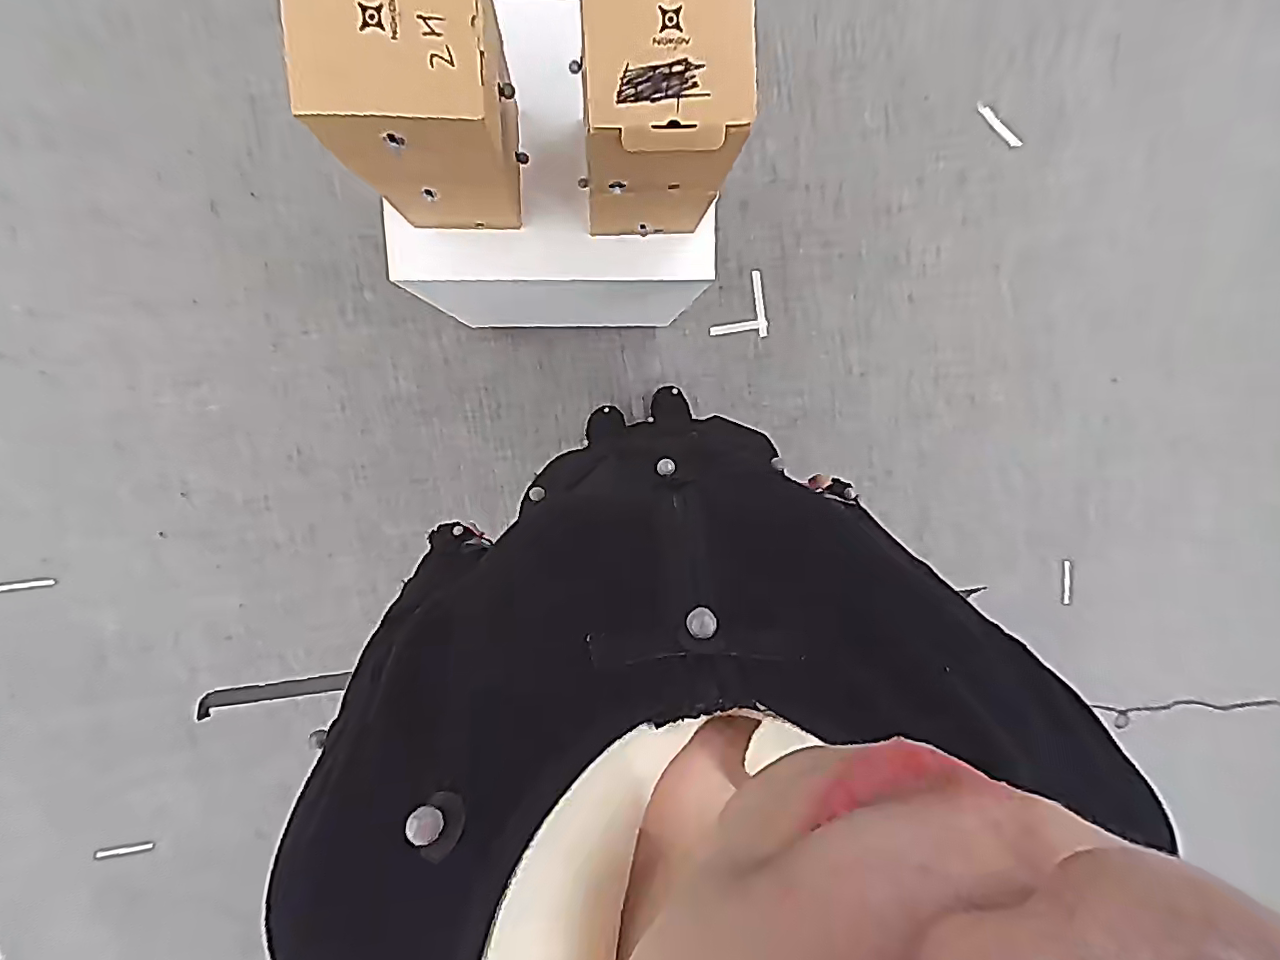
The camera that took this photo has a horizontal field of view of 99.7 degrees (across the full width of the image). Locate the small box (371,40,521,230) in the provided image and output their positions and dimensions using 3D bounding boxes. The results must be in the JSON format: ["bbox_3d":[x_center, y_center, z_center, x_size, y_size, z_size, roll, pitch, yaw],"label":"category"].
[{"bbox_3d":[-0.254,-0.458,0.726,0.168,0.176,0.179,-1,98,-5],"label":"small box"}]

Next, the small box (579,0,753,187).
[{"bbox_3d":[0.020,-0.437,0.588,0.168,0.176,0.179,-3,98,-4],"label":"small box"}]

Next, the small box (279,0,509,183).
[{"bbox_3d":[-0.240,-0.428,0.565,0.179,0.176,0.168,-1,100,-5],"label":"small box"}]
